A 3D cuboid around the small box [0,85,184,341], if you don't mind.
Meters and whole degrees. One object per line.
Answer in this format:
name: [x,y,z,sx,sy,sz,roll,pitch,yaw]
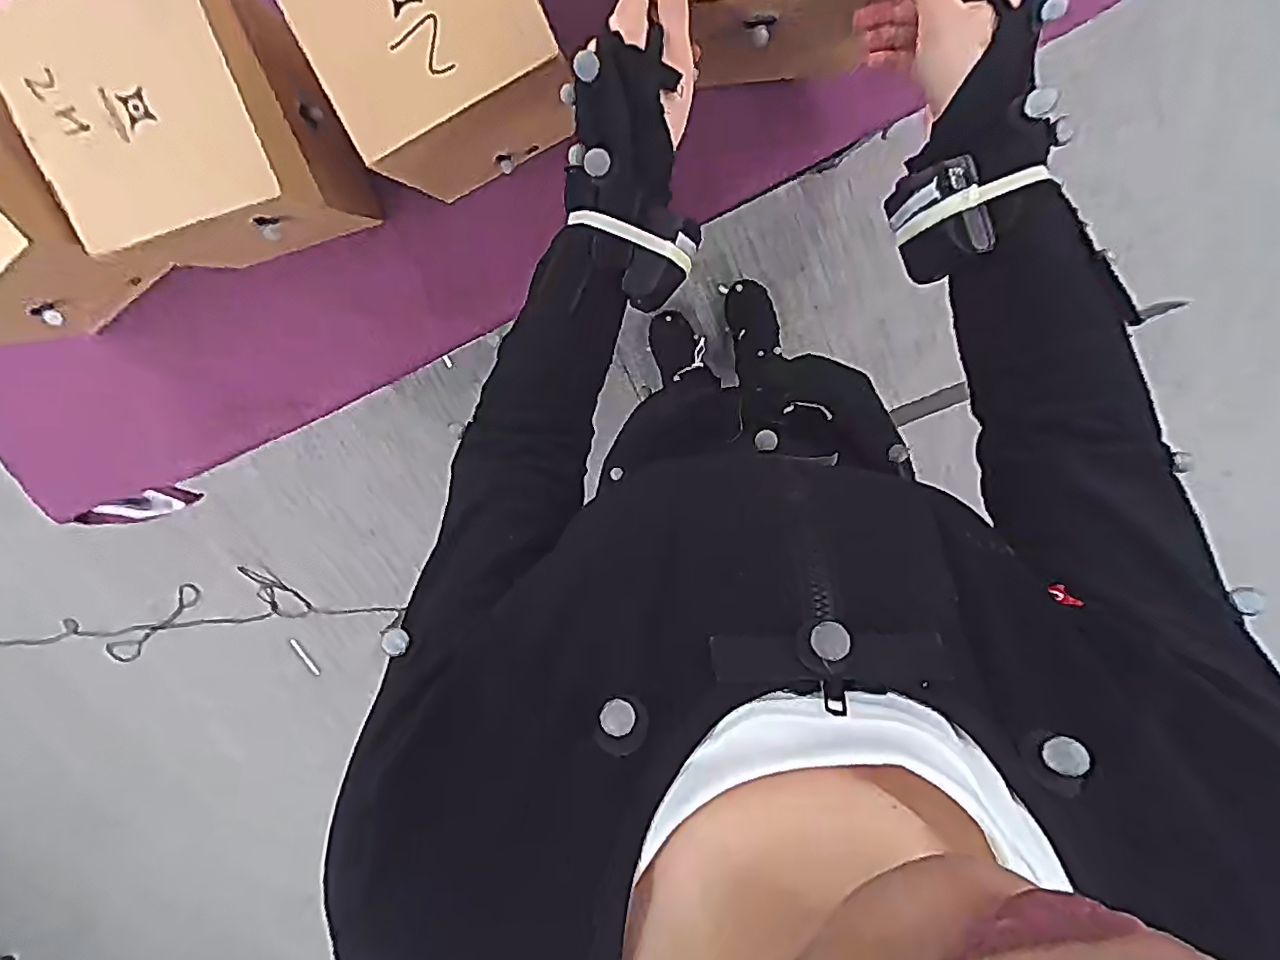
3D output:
small box: [-0.595,-0.245,0.500,0.168,0.176,0.179,-31,106,12]
